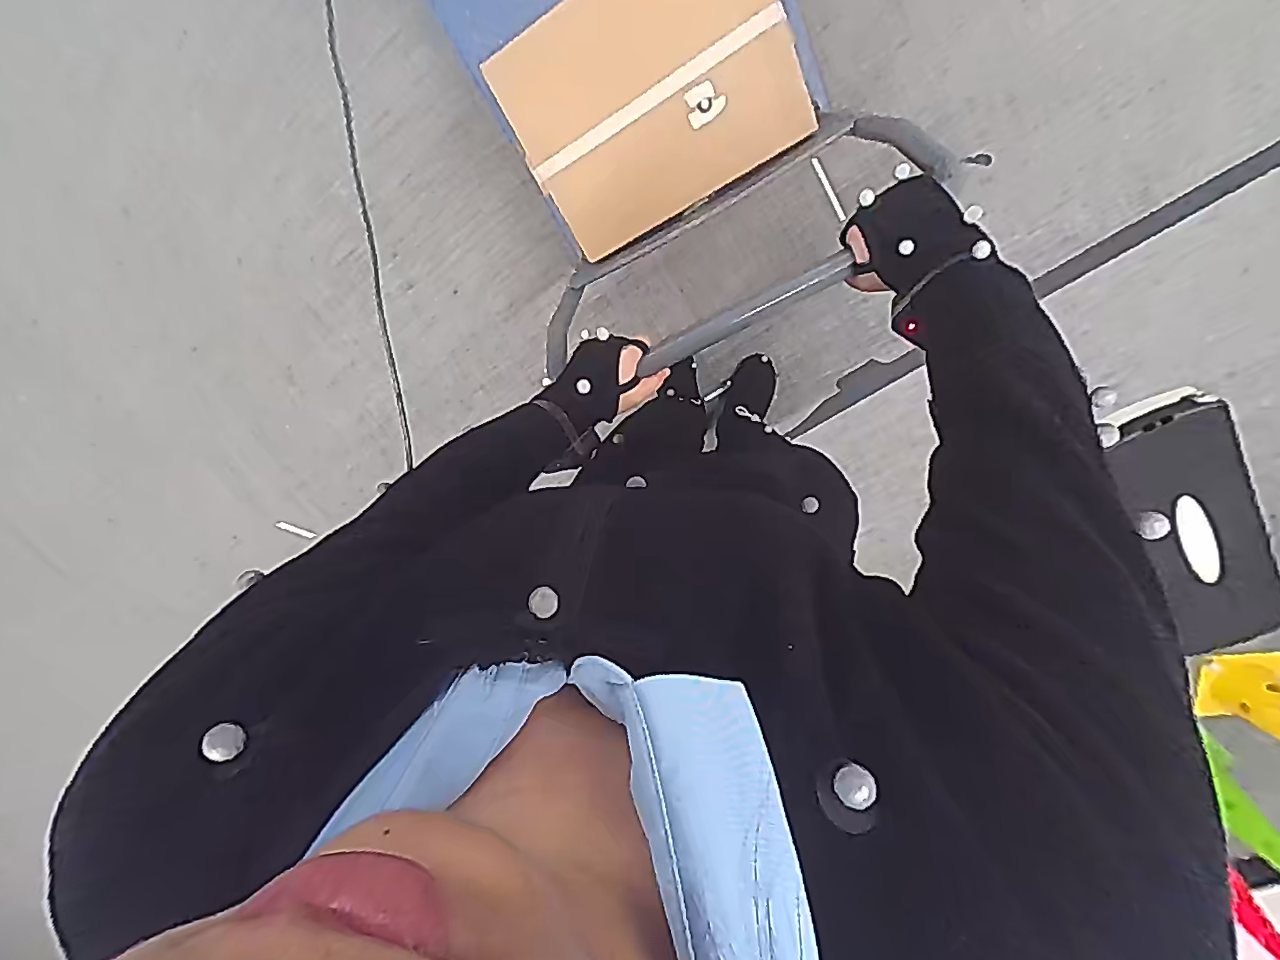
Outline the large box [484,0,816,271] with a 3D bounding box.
[{"bbox_3d":[0.022,-0.619,0.914,0.408,0.320,0.320,-24,118,17],"label":"large box"}]
